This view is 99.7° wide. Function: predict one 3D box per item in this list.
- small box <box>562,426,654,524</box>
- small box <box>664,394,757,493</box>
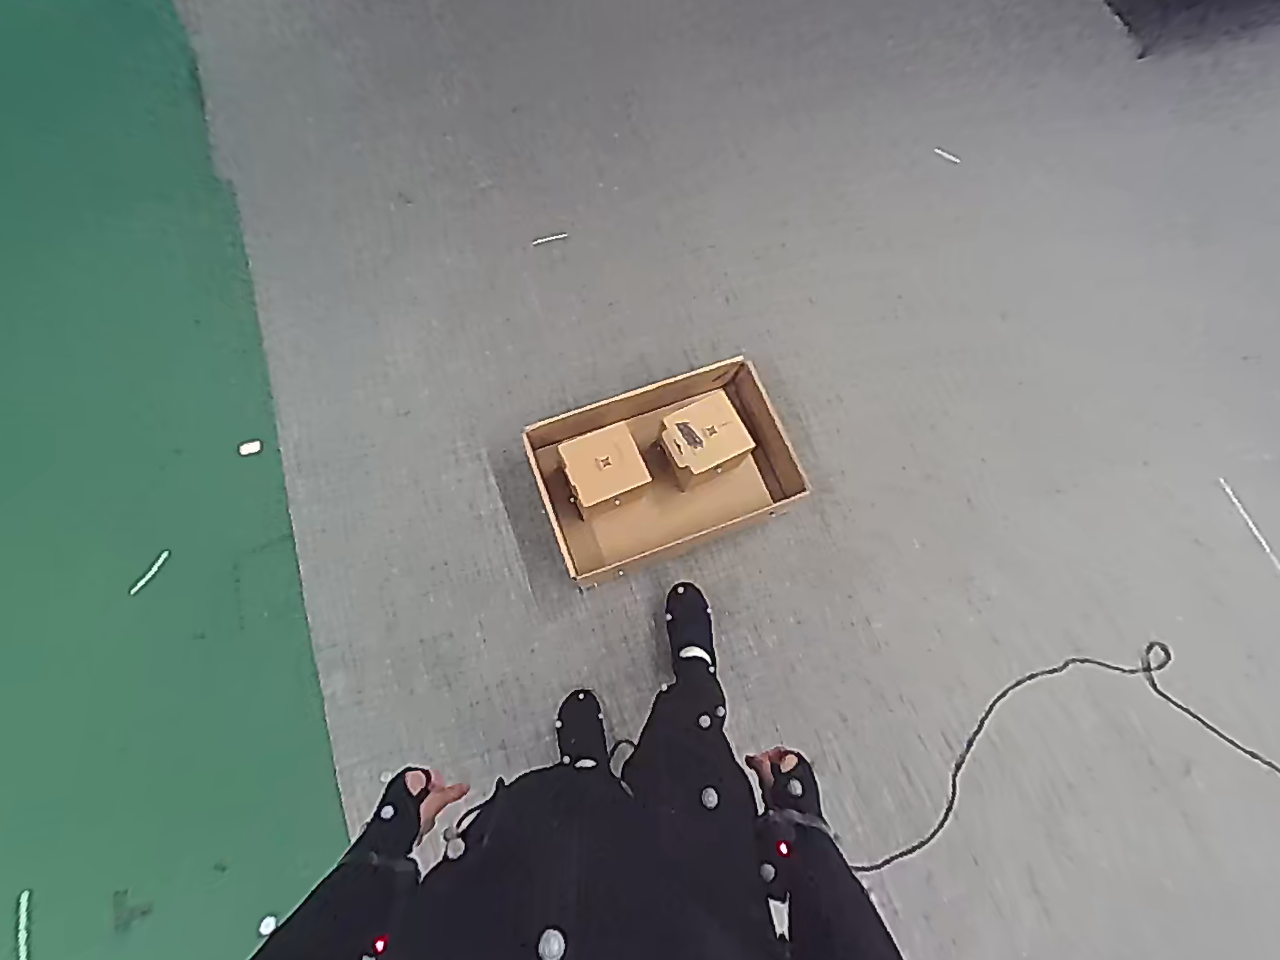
[{"bbox_3d":[-0.080,-0.005,1.348,0.179,0.176,0.168,-23,77,-10],"label":"small box"},{"bbox_3d":[0.170,-0.086,1.384,0.179,0.176,0.168,-26,77,-10],"label":"small box"}]
